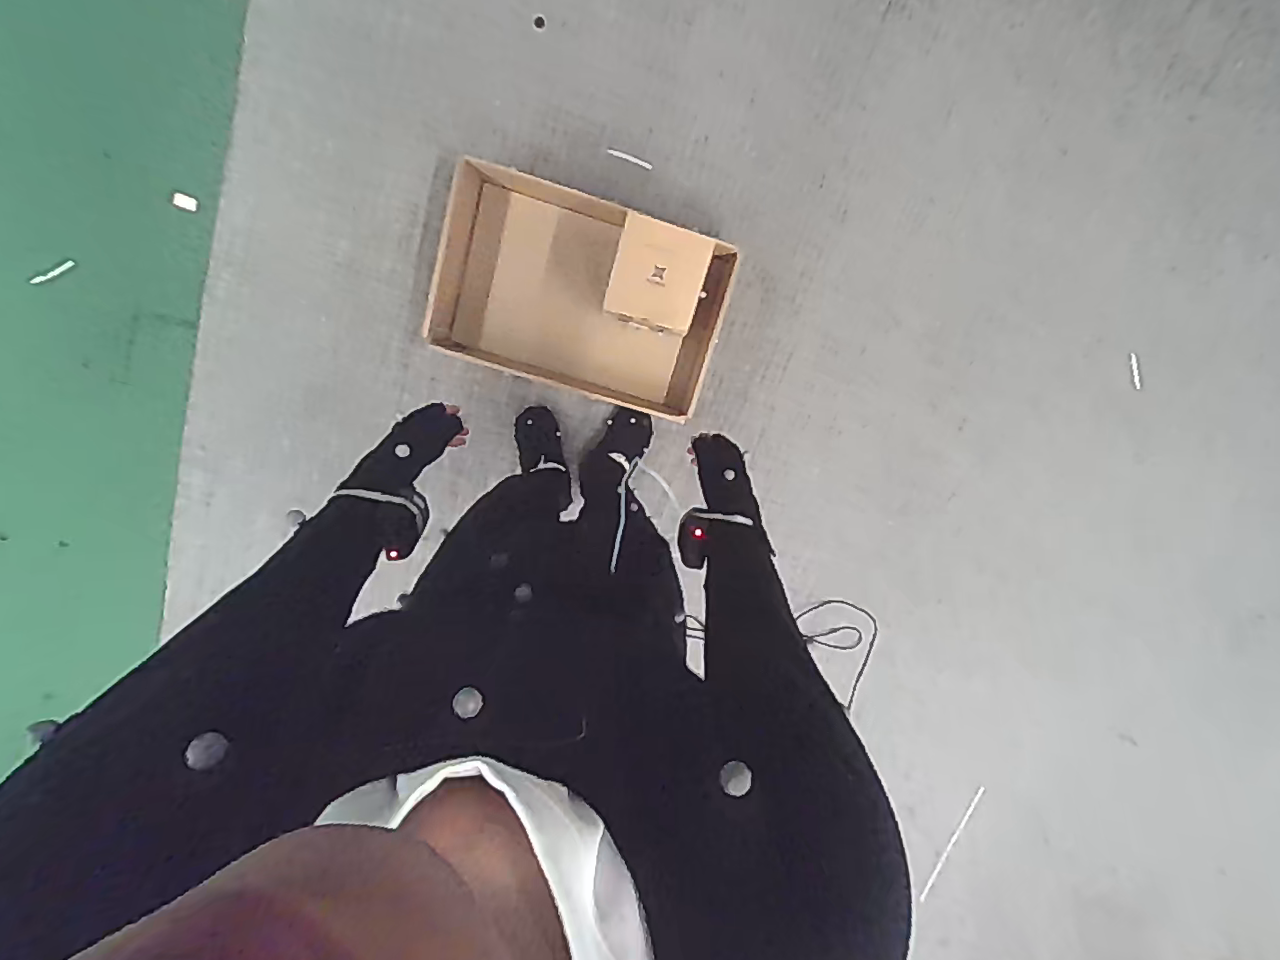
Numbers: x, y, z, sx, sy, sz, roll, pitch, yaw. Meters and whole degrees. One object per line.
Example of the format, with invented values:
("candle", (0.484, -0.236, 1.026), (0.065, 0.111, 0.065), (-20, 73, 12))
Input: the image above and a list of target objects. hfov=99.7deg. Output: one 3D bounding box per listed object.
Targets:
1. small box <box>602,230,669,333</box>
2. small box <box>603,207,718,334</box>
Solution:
("small box", (0.018, -0.433, 1.207), (0.168, 0.176, 0.179), (12, 103, -3))
("small box", (0.035, -0.386, 1.031), (0.168, 0.176, 0.179), (16, 103, -5))
